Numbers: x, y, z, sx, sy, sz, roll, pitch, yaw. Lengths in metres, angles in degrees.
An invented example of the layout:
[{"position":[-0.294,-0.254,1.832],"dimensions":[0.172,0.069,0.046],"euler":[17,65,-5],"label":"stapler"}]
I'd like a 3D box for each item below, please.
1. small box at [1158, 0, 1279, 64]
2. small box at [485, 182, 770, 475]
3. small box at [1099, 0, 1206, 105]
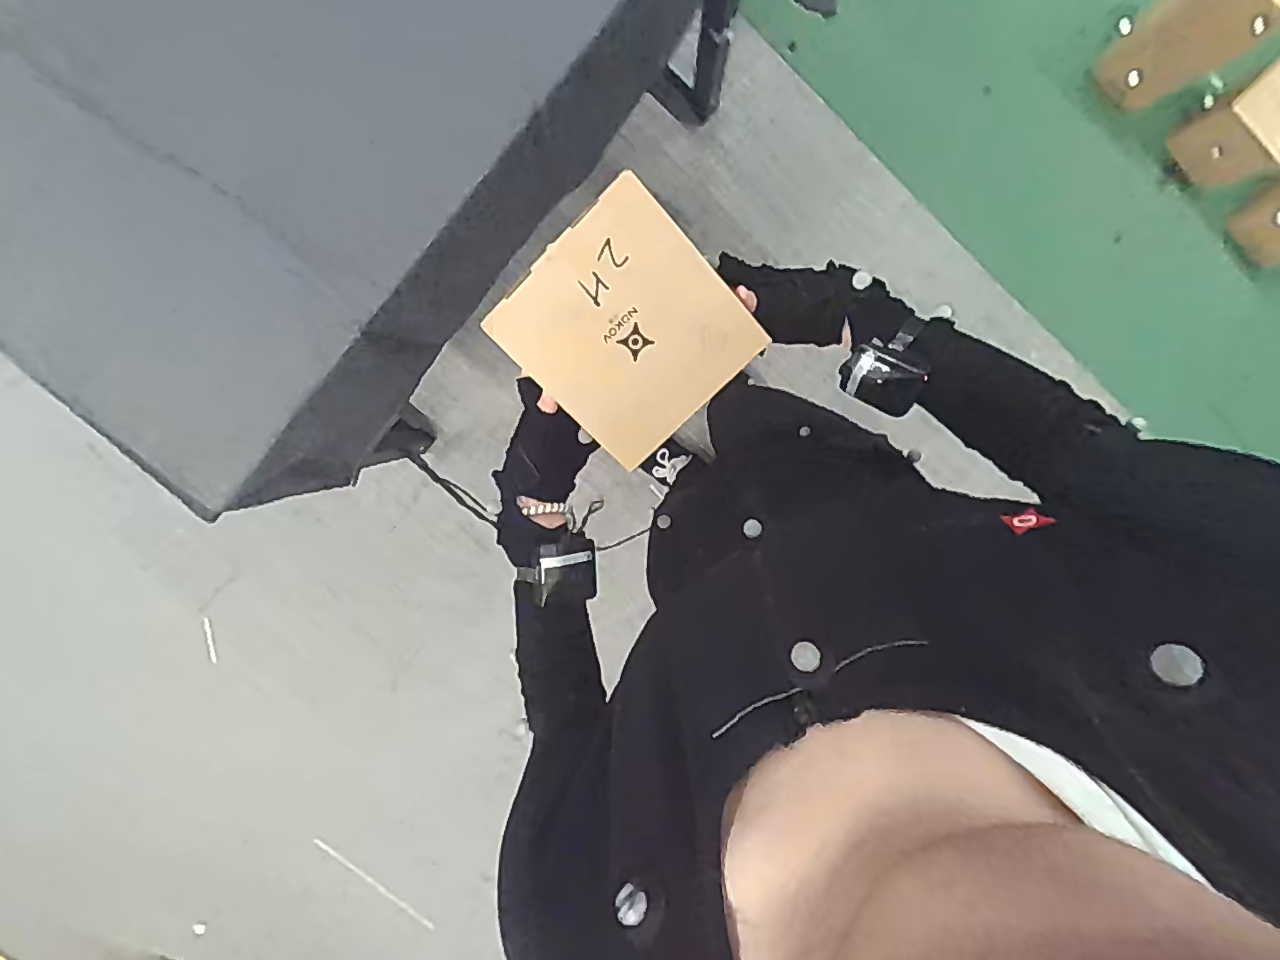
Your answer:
[{"position":[1.183,-0.967,1.044],"dimensions":[0.179,0.176,0.168],"euler":[39,98,-5],"label":"small box"},{"position":[-0.012,-0.139,0.512],"dimensions":[0.168,0.176,0.179],"euler":[-42,106,10],"label":"small box"},{"position":[1.185,-0.995,1.205],"dimensions":[0.168,0.176,0.179],"euler":[41,99,-5],"label":"small box"}]
